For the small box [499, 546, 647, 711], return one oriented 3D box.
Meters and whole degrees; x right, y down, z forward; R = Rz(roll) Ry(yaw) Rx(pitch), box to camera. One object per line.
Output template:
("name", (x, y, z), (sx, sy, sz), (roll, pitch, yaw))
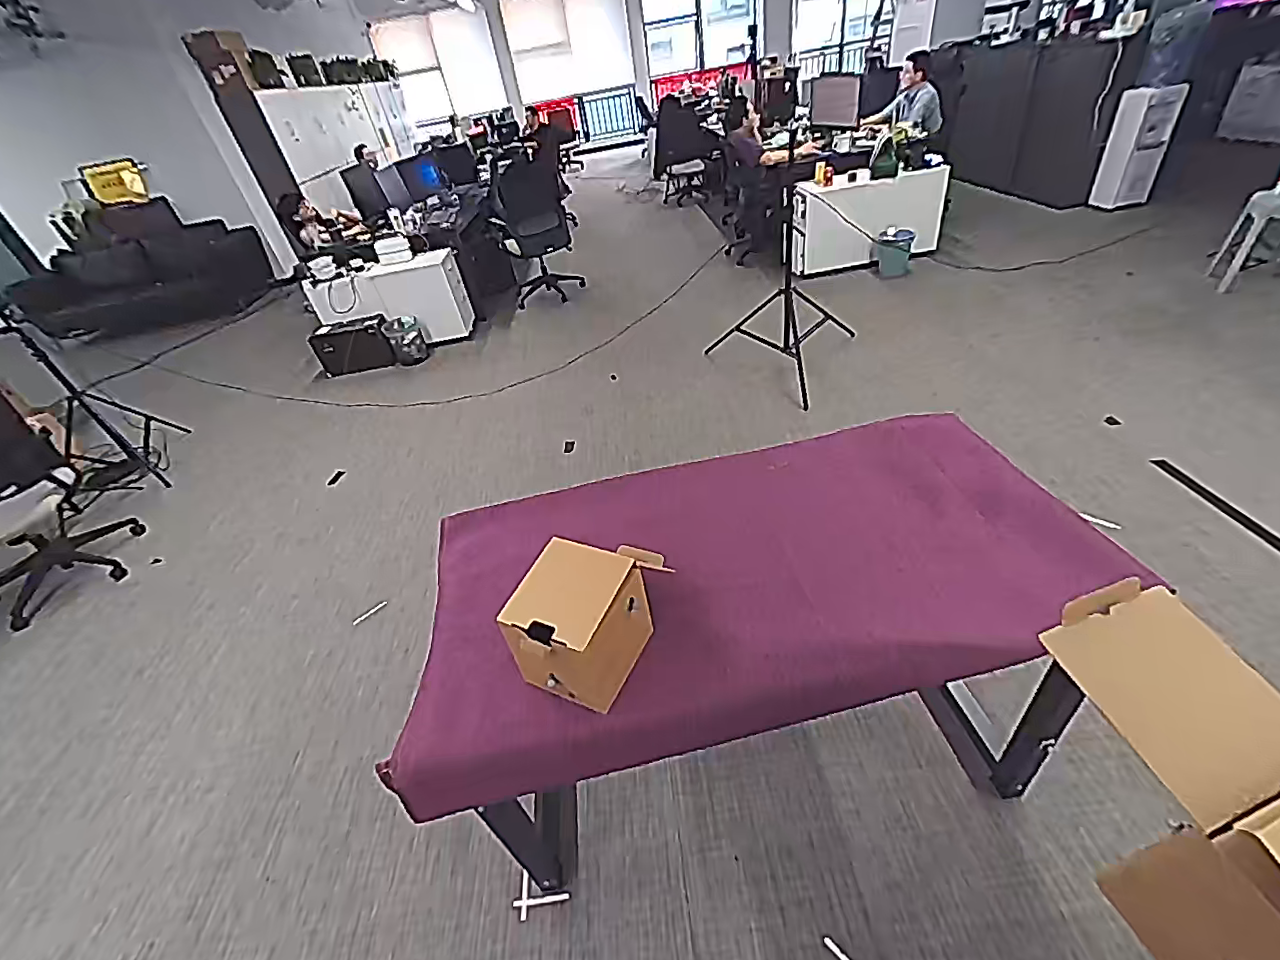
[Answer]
("small box", (-0.099, 0.242, 0.901), (0.168, 0.176, 0.179), (10, 42, 27))
